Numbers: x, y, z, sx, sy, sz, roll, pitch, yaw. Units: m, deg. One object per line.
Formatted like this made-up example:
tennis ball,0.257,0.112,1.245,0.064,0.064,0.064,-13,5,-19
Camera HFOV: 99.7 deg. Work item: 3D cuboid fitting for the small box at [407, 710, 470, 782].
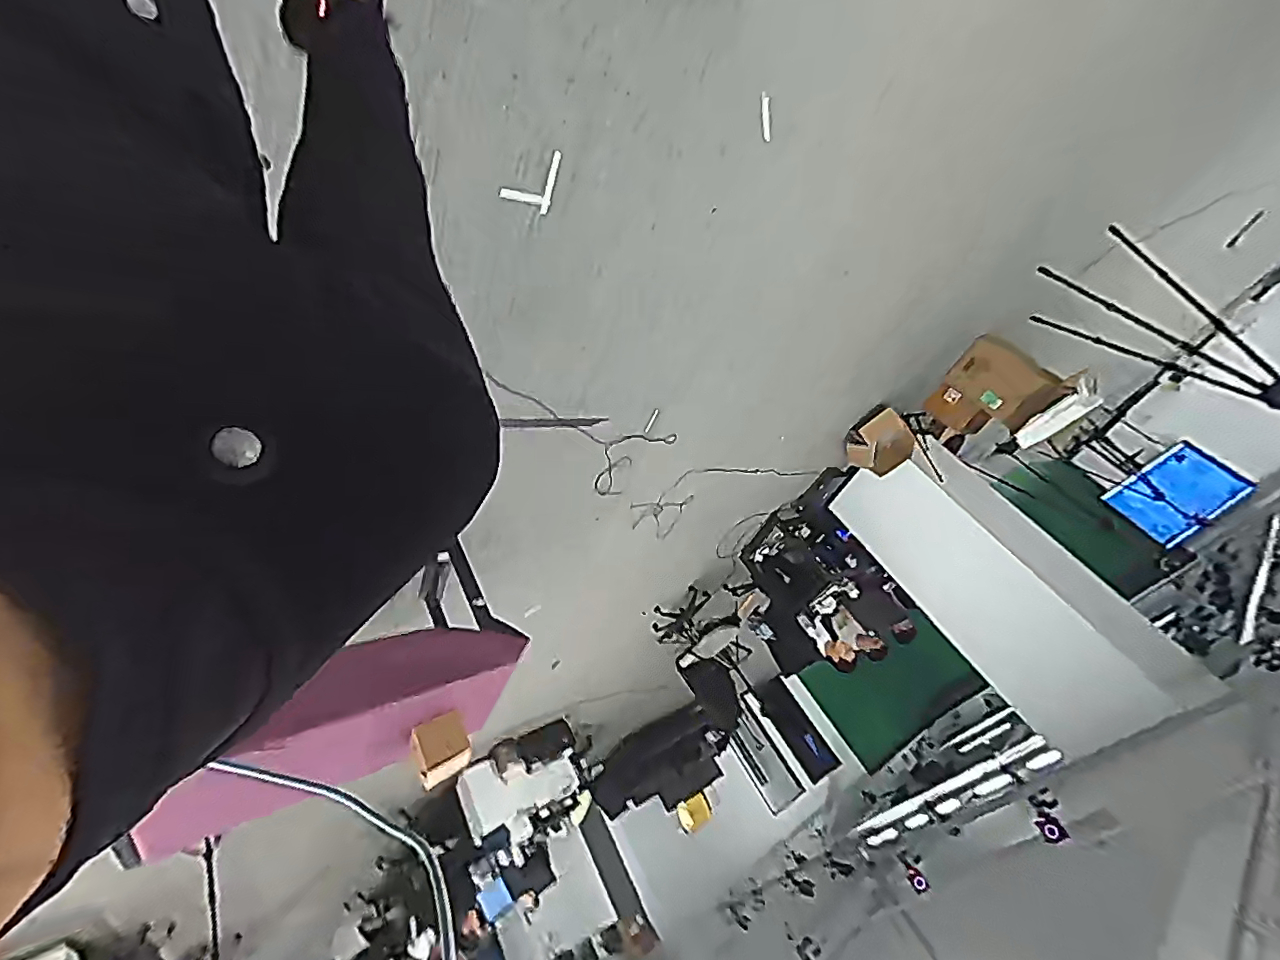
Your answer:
small box,-0.789,1.033,2.111,0.179,0.176,0.168,-9,140,-37
